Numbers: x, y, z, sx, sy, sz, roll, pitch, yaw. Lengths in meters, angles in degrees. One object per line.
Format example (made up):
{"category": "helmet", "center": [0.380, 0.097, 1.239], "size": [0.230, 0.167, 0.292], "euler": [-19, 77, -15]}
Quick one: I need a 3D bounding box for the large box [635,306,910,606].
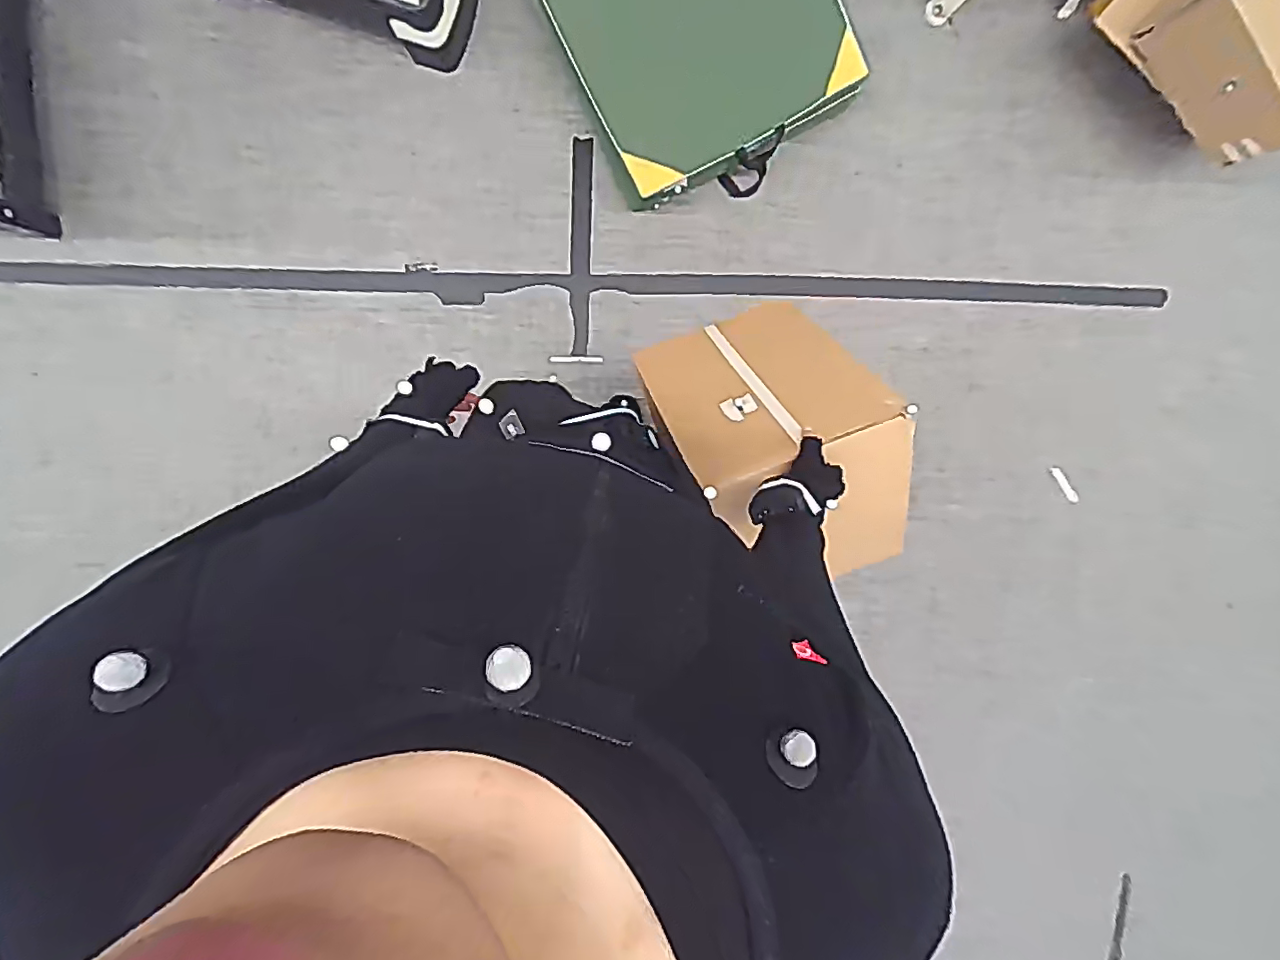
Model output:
{"category": "large box", "center": [0.219, -0.054, 0.986], "size": [0.320, 0.408, 0.320], "euler": [-22, 133, 0]}
